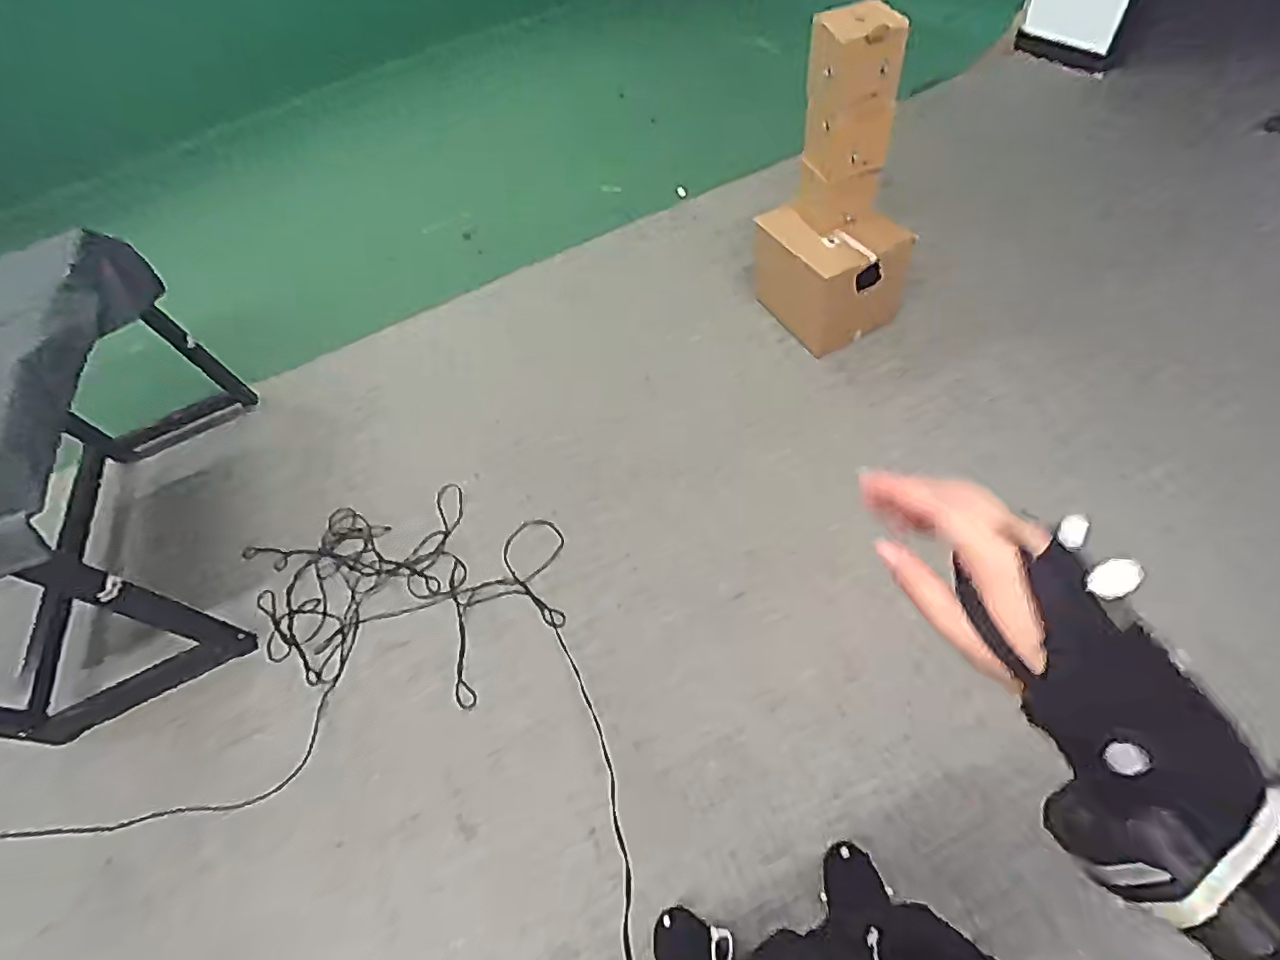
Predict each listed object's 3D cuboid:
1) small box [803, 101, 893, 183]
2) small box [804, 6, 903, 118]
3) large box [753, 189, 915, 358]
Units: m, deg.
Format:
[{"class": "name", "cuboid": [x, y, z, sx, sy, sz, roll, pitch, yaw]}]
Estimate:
[{"class": "small box", "cuboid": [0.563, -0.959, 1.497, 0.168, 0.176, 0.179, -17, 56, 0]}, {"class": "small box", "cuboid": [0.528, -1.047, 1.365, 0.168, 0.176, 0.179, -16, 55, 0]}, {"class": "large box", "cuboid": [0.614, -0.685, 1.799, 0.320, 0.320, 0.408, -28, 56, -5]}]
